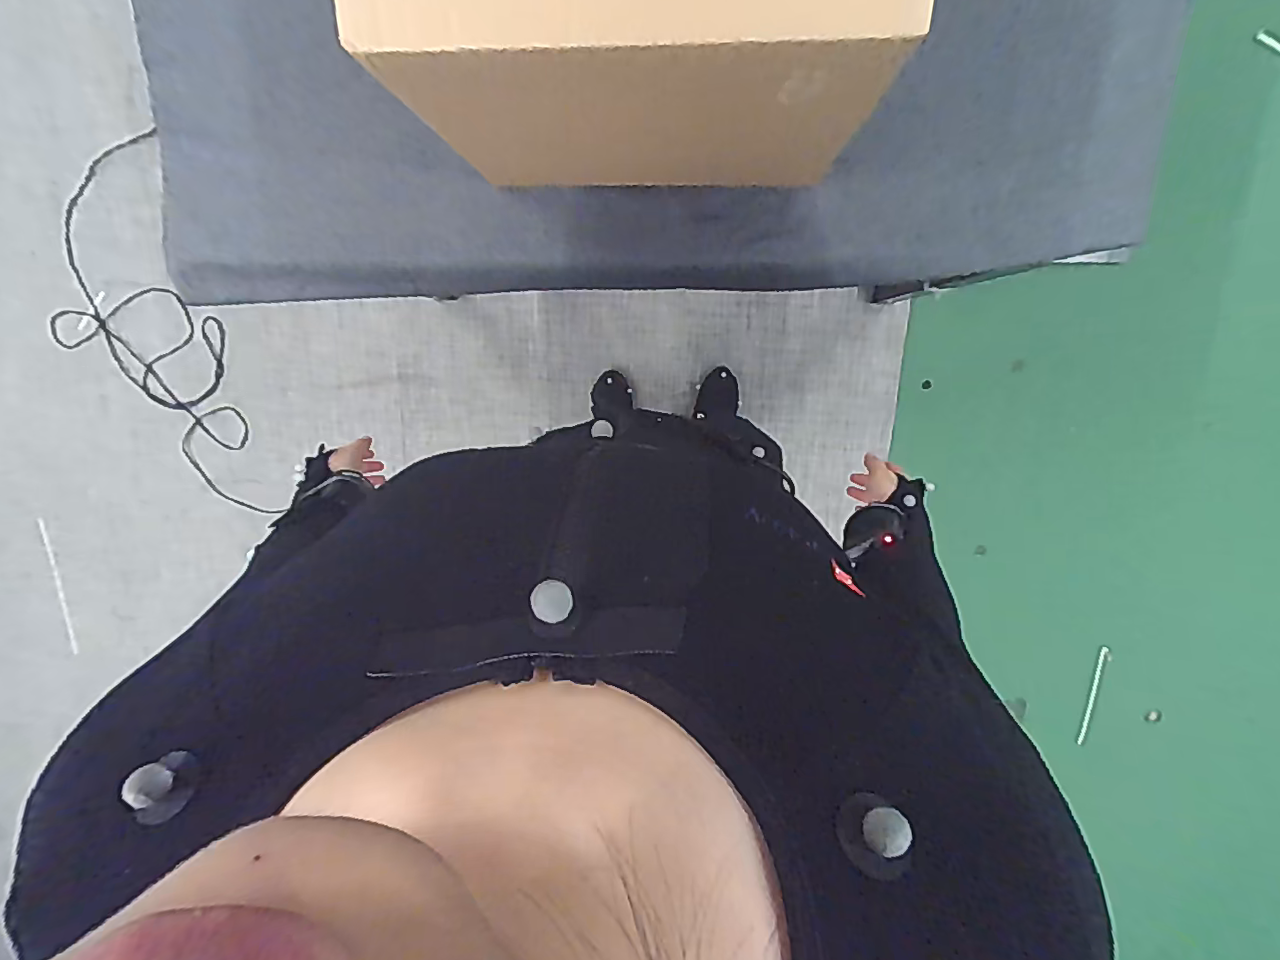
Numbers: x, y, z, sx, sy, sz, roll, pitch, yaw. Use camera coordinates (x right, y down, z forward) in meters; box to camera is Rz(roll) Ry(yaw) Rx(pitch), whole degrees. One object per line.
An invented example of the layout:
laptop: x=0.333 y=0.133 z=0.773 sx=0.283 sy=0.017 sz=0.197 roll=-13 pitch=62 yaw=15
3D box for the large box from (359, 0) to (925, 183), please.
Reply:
large box: x=0.003 y=-0.490 z=0.495 sx=0.408 sy=0.320 sz=0.320 roll=1 pitch=104 yaw=4
